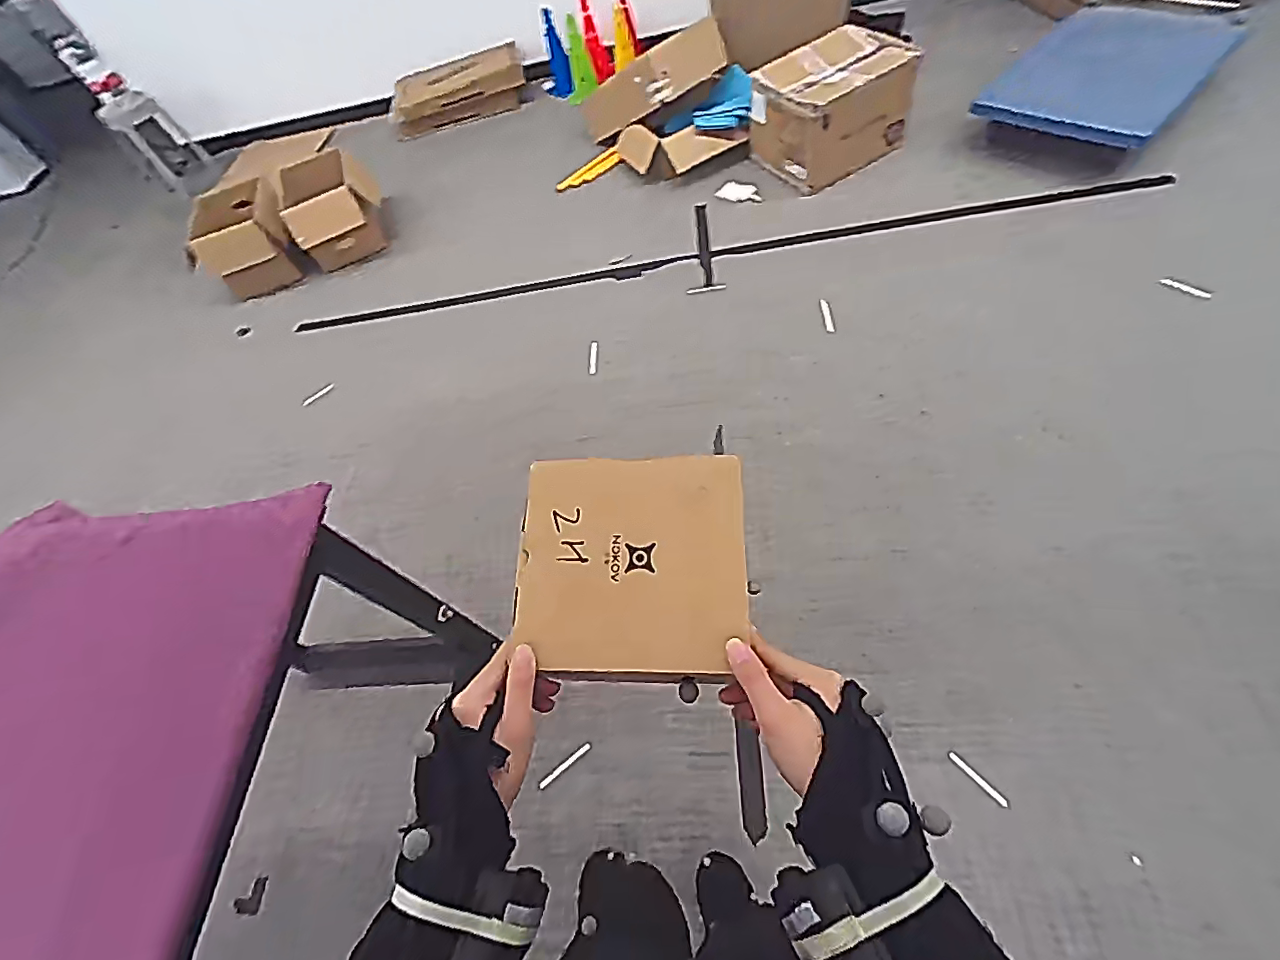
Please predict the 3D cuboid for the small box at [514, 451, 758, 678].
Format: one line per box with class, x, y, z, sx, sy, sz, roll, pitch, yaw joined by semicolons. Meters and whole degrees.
small box;0.008;0.083;0.483;0.179;0.176;0.168;-1;67;8
